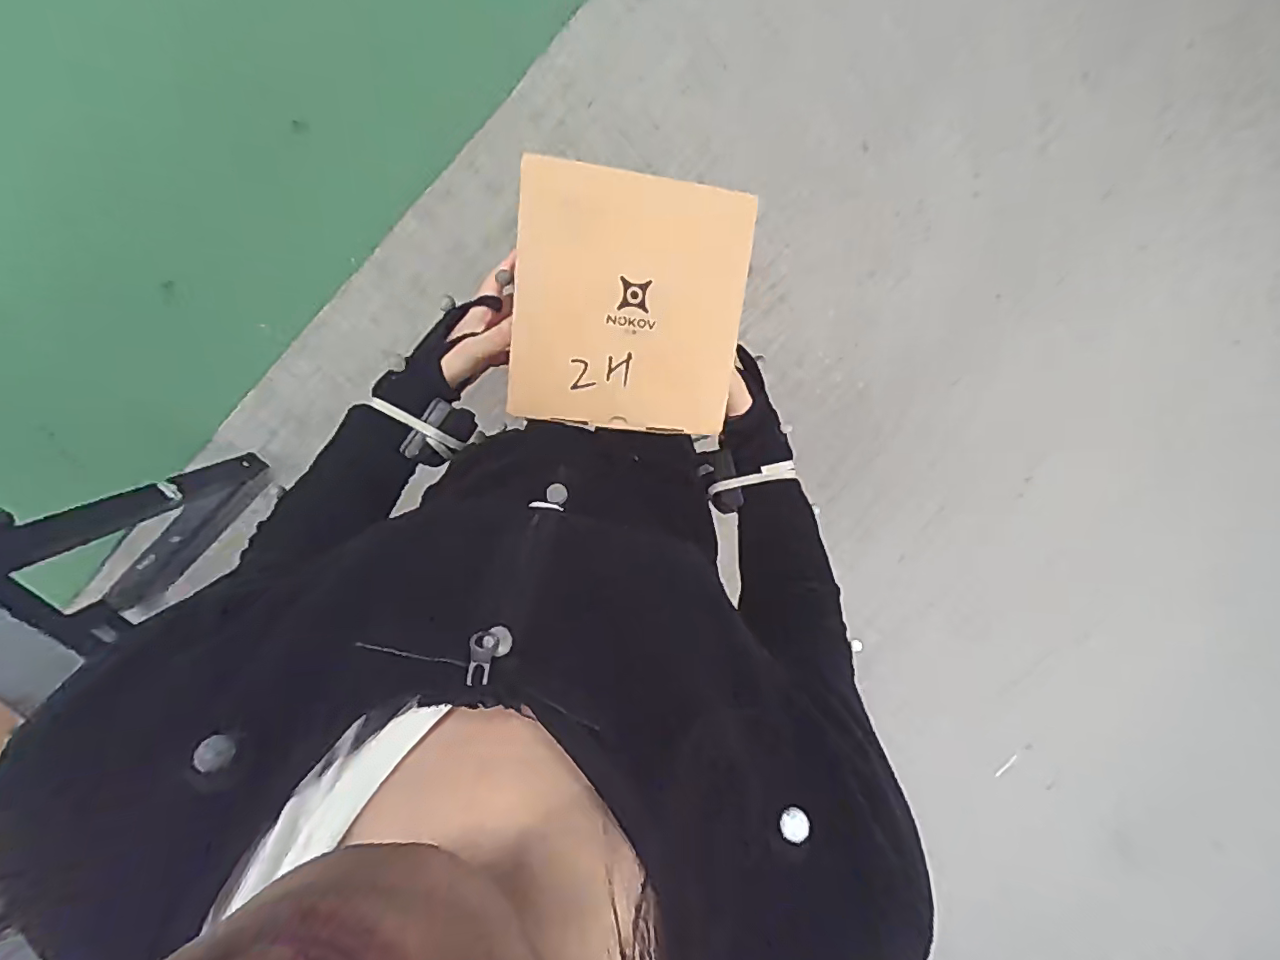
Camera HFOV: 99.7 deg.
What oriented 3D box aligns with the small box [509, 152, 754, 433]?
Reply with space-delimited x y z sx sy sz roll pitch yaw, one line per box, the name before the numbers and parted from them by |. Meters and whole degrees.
small box | -0.021 -0.147 0.466 0.168 0.176 0.179 4 105 -11
